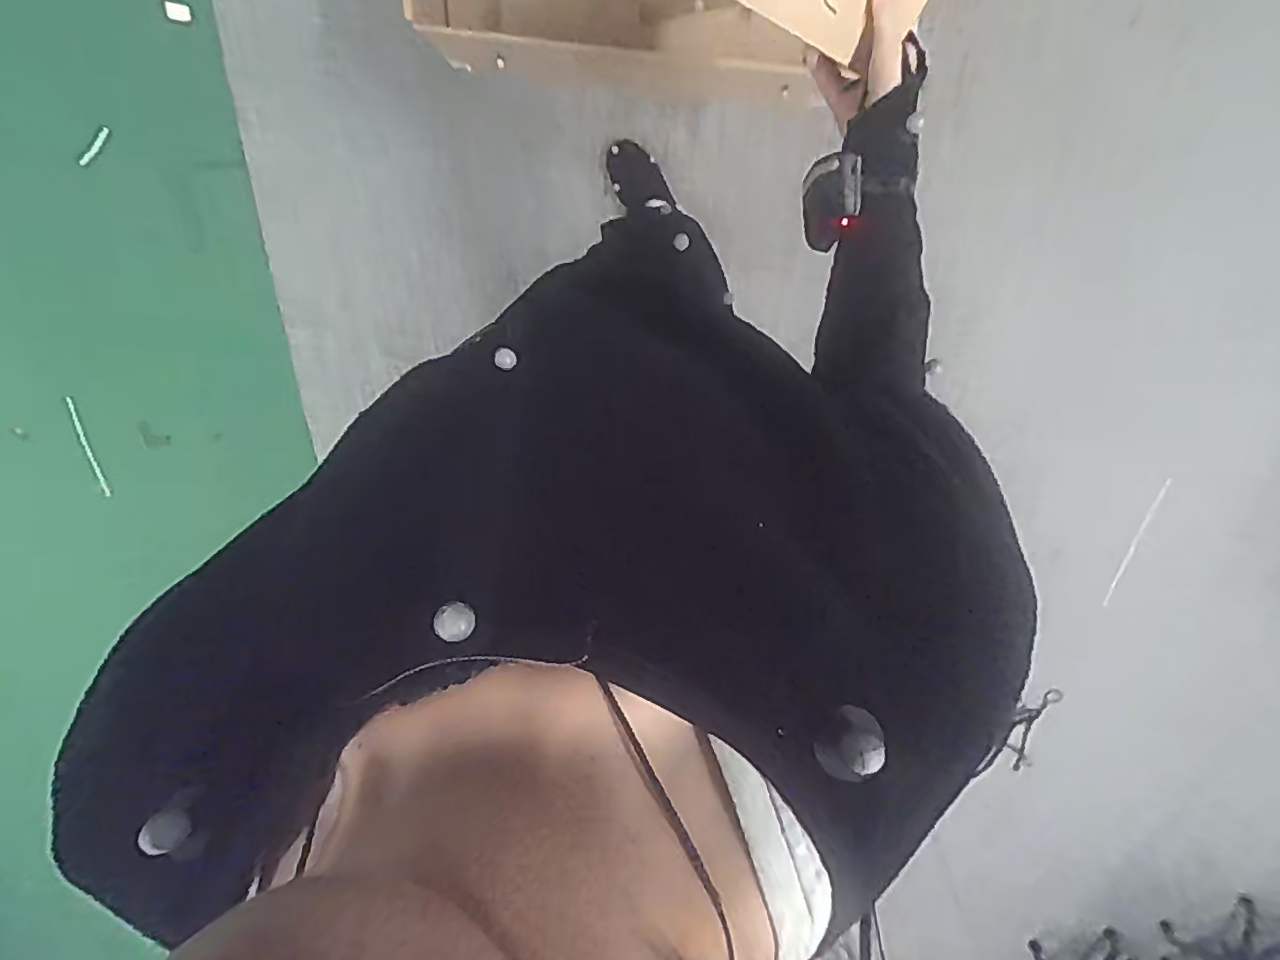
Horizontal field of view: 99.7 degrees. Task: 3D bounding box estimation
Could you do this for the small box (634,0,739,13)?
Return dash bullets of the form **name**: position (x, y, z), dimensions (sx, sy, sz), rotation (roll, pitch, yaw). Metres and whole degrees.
- **small box**: position (0.063, -0.725, 0.681), dimensions (0.168, 0.176, 0.179), rotation (-6, 117, 3)
